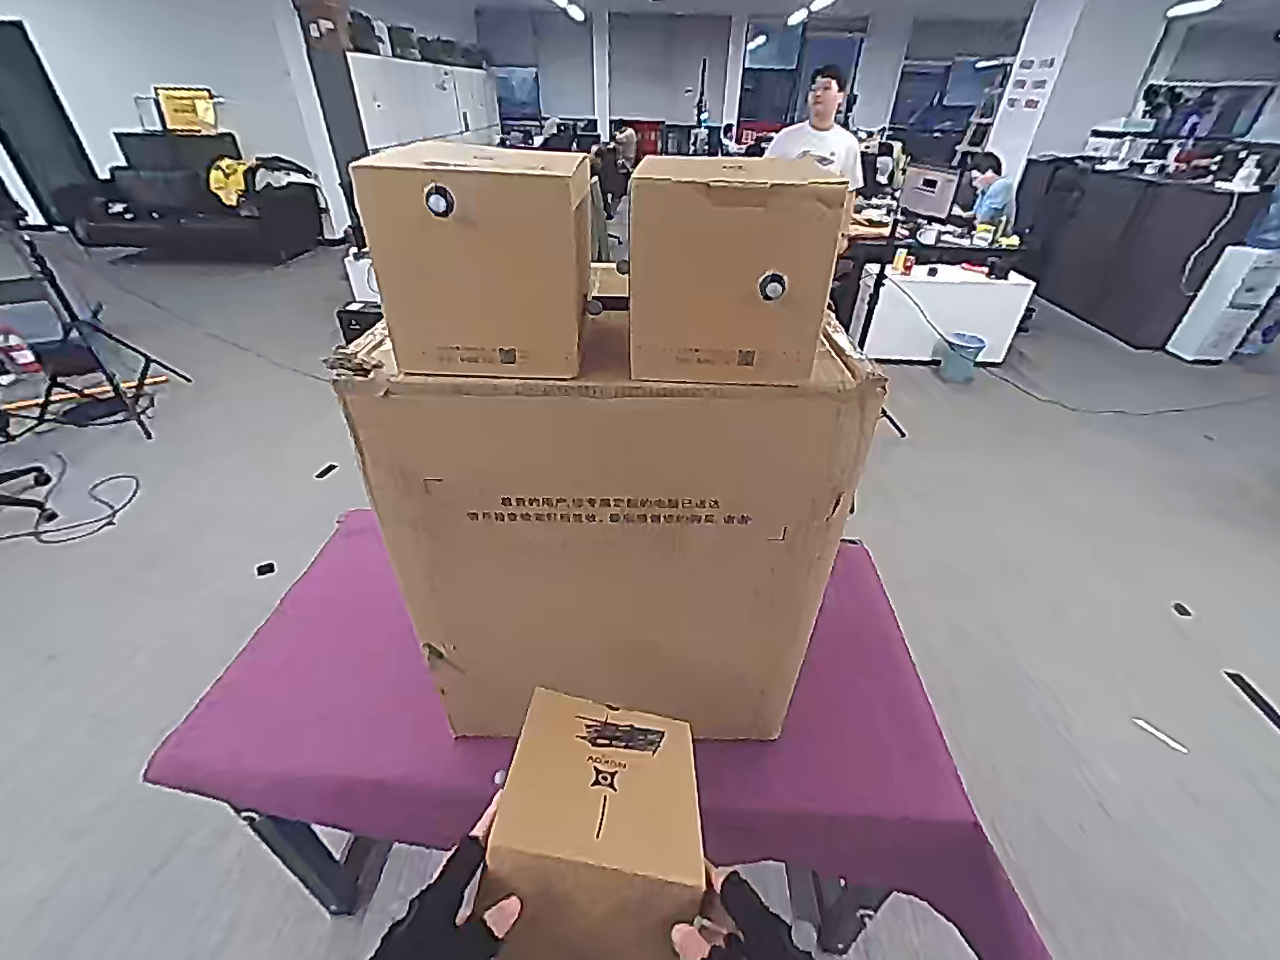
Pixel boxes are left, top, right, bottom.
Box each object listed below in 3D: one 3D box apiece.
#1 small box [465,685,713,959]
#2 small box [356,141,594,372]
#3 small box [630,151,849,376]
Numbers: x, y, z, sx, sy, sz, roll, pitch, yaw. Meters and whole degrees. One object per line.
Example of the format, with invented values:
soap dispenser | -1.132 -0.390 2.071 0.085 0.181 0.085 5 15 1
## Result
small box | -0.044 0.322 0.484 0.168 0.176 0.179 13 13 -3
small box | -0.132 -0.215 0.511 0.168 0.176 0.179 1 34 -1
small box | 0.080 -0.208 0.514 0.168 0.176 0.179 3 34 3
